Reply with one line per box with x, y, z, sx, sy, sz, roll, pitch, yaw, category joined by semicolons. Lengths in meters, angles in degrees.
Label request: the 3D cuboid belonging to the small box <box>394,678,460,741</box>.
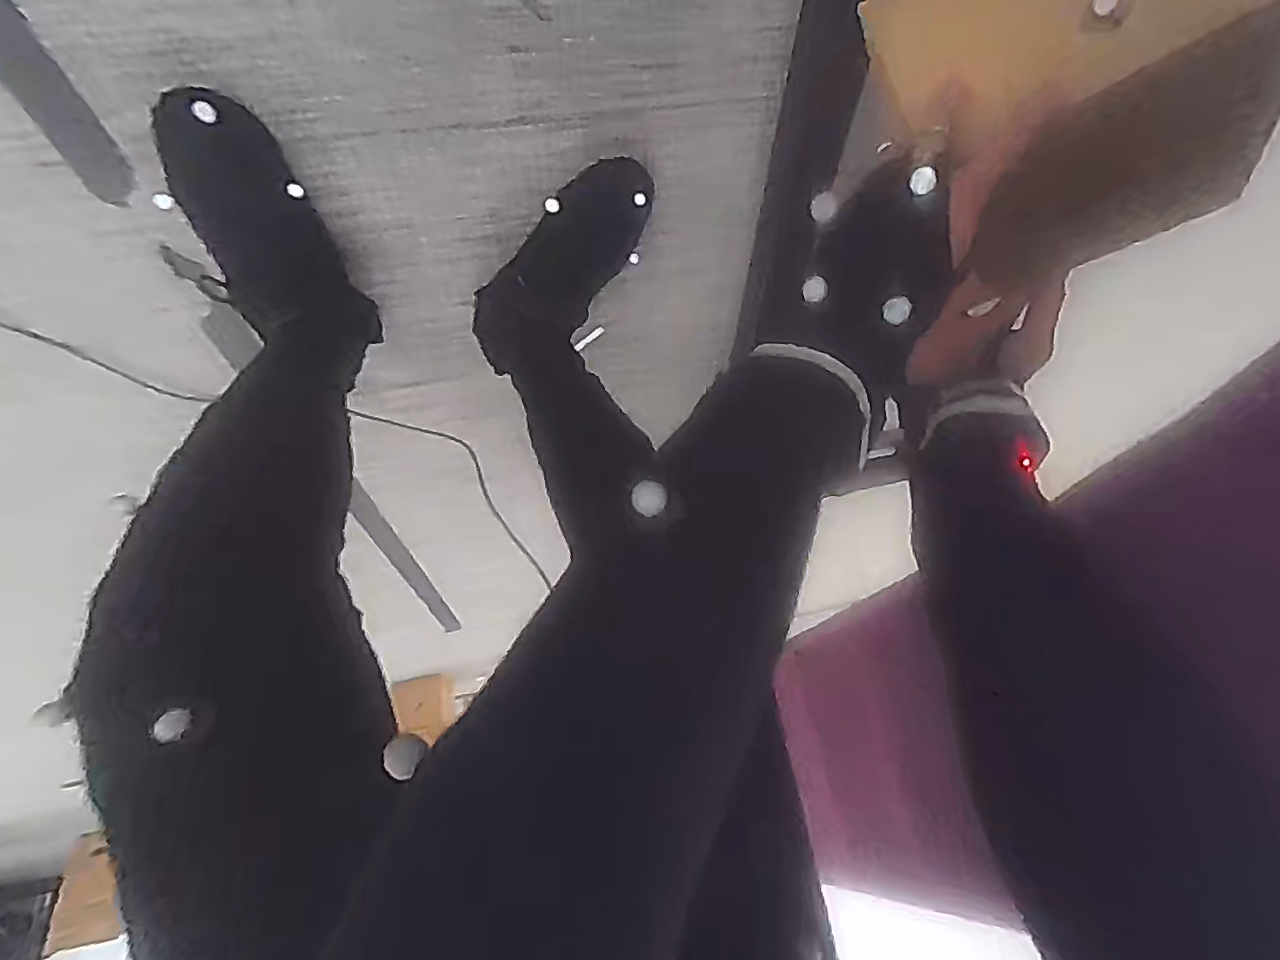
-0.744;0.816;1.900;0.179;0.176;0.168;-11;147;-7;small box
